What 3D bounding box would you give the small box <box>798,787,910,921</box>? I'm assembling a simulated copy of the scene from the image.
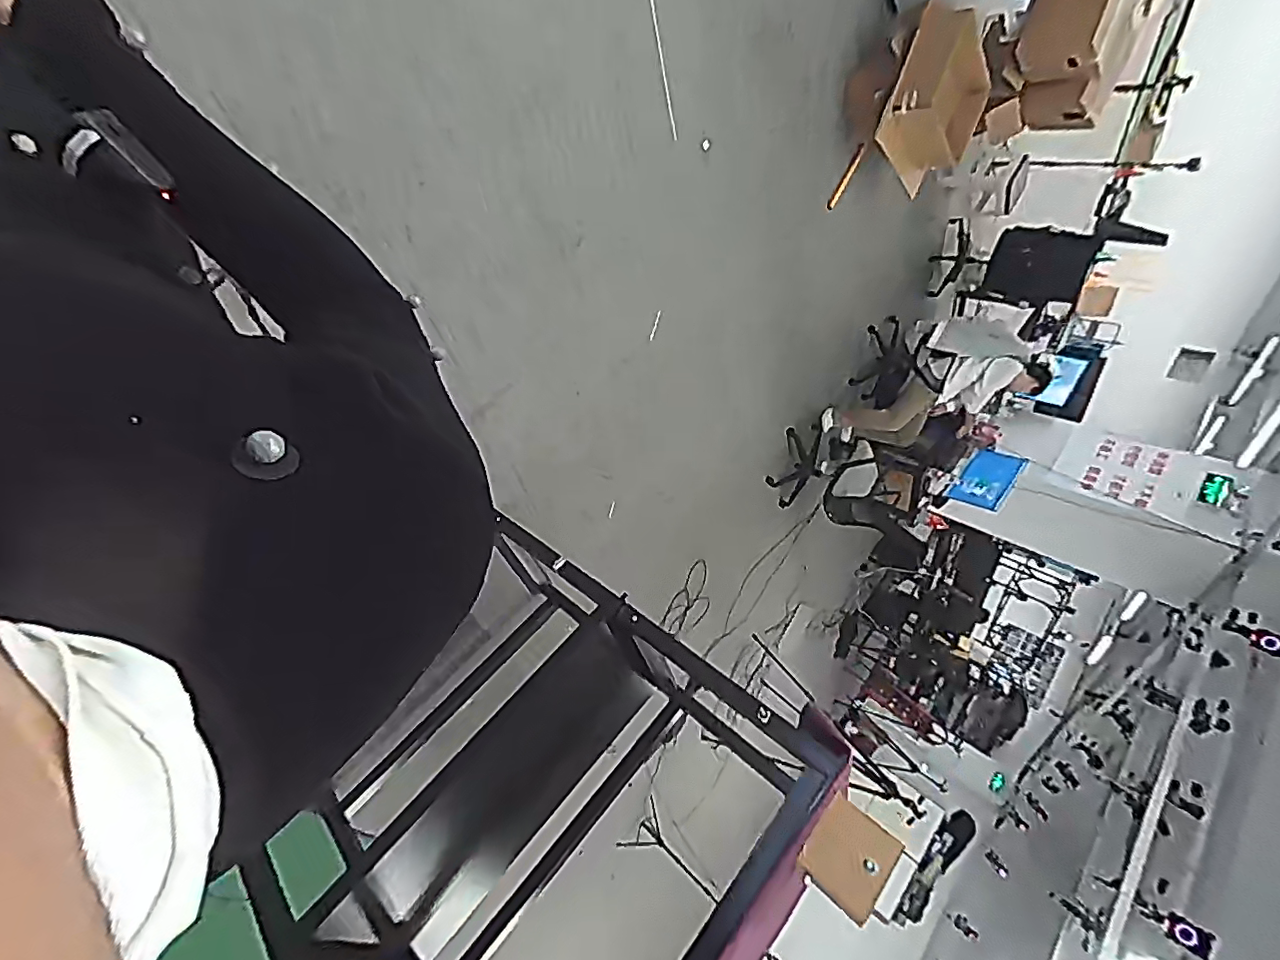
[{"bbox_3d":[0.475,0.835,1.216,0.179,0.176,0.168,-44,140,-23],"label":"small box"}]
